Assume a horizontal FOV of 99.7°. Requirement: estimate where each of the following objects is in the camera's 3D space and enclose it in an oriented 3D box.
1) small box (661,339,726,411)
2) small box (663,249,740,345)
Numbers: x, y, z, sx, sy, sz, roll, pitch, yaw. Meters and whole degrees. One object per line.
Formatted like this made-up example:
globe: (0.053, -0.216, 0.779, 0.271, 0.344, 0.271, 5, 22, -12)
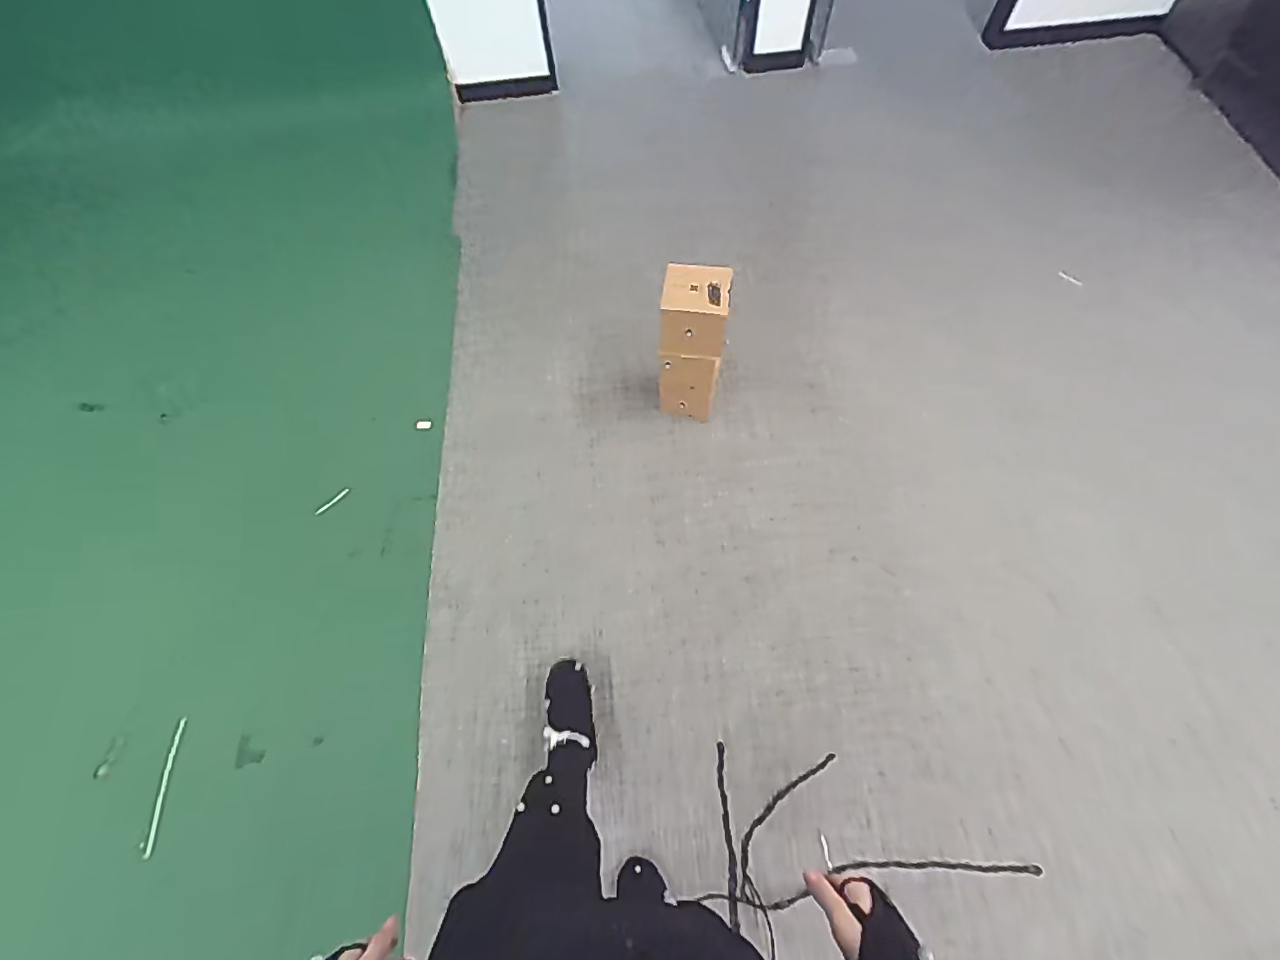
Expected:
small box: (0.169, -0.347, 1.738, 0.168, 0.176, 0.179, 16, 67, 8)
small box: (0.160, -0.481, 1.438, 0.179, 0.176, 0.168, 9, 66, 7)
